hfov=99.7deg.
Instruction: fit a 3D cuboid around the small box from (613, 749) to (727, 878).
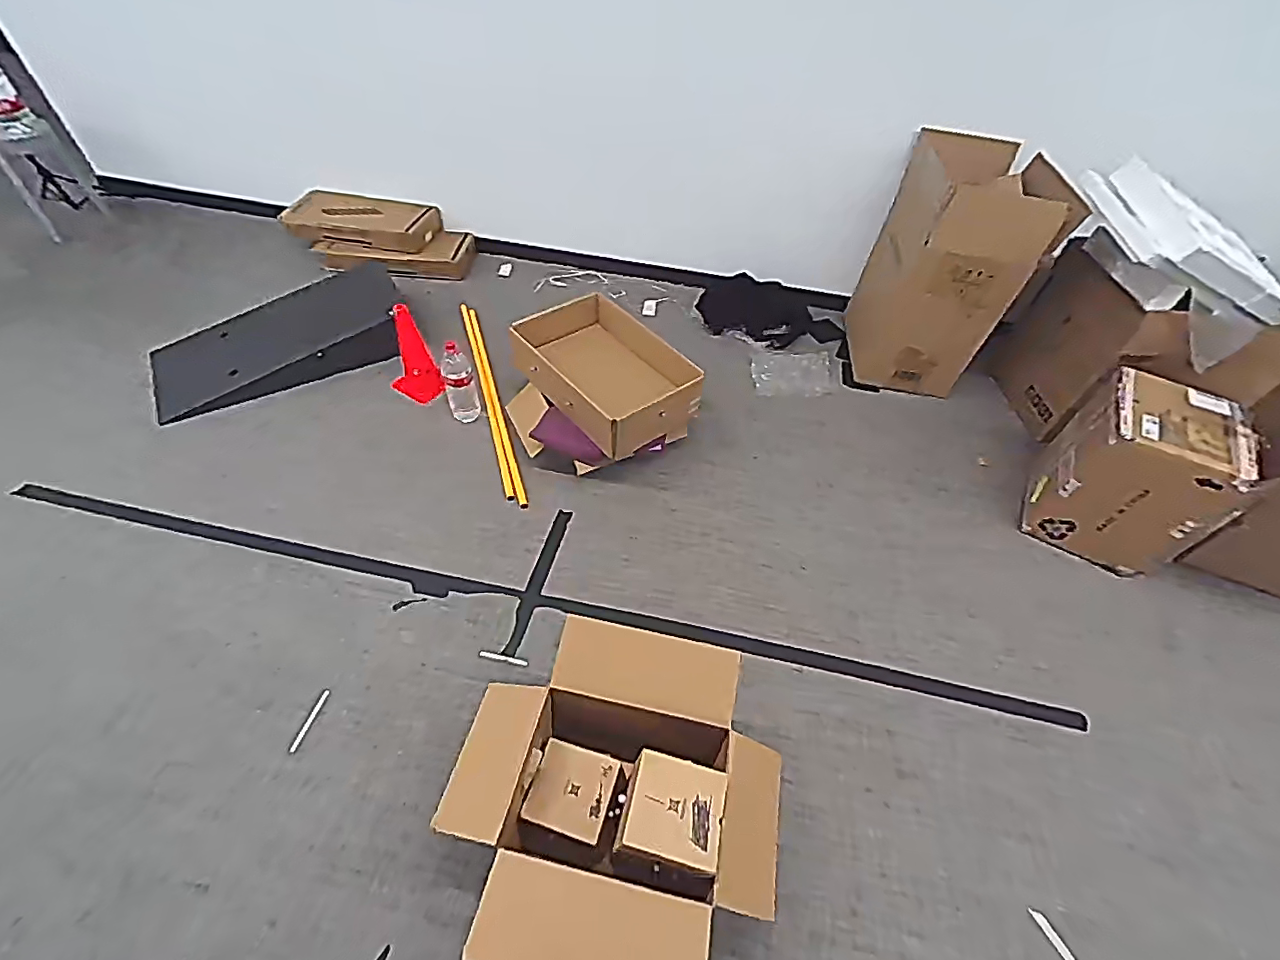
[{"bbox_3d":[0.056,0.660,1.064,0.179,0.176,0.168,16,49,4],"label":"small box"}]
